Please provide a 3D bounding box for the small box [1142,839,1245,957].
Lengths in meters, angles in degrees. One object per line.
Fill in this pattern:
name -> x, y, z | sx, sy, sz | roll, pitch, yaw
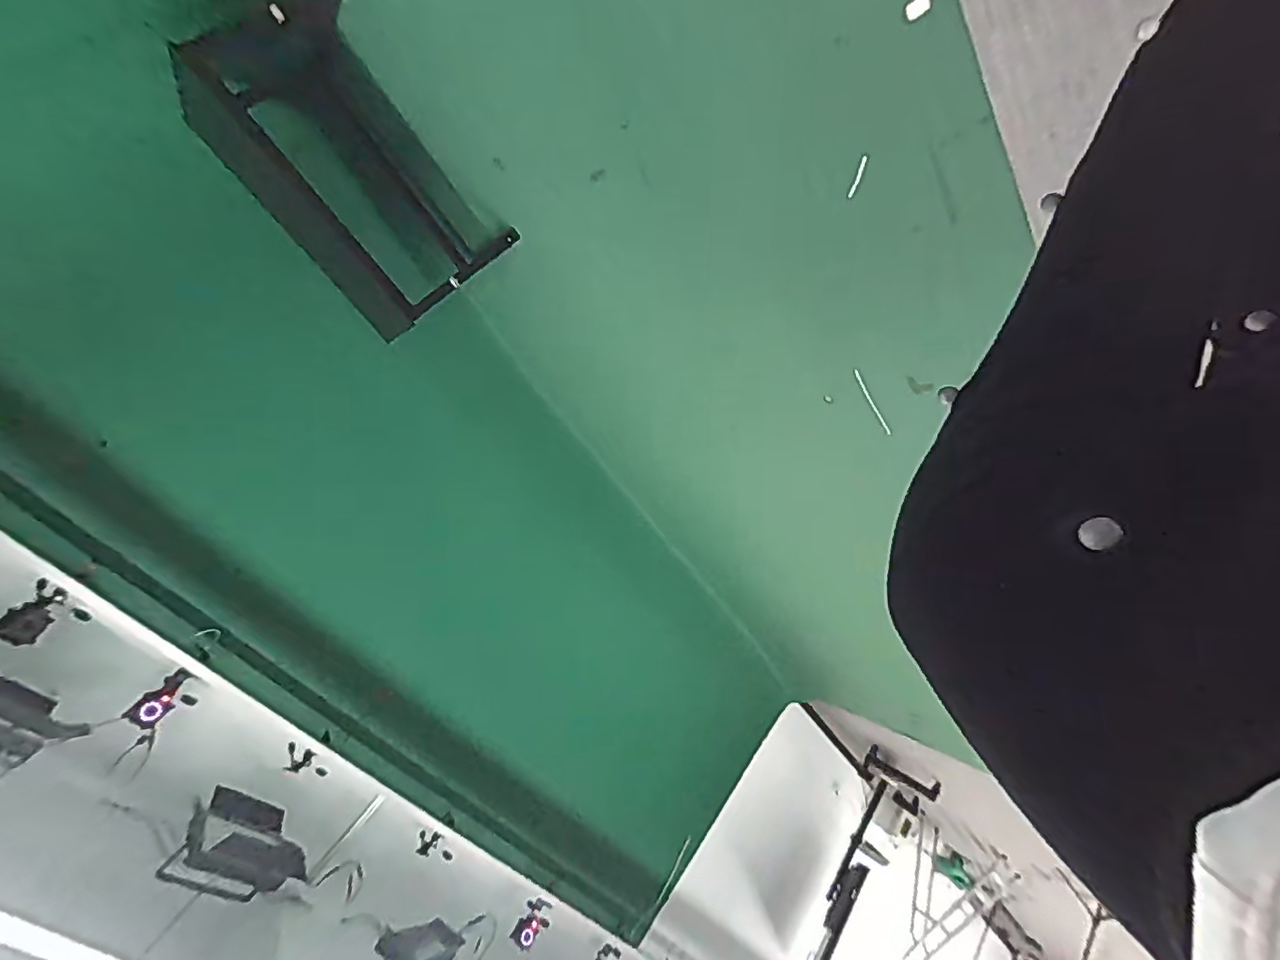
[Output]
small box -> 1.531, 1.146, 1.493 | 0.179, 0.176, 0.168 | 50, 156, -24

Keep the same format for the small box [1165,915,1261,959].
small box -> 1.718, 1.377, 1.617 | 0.179, 0.176, 0.168 | 53, 154, -22
